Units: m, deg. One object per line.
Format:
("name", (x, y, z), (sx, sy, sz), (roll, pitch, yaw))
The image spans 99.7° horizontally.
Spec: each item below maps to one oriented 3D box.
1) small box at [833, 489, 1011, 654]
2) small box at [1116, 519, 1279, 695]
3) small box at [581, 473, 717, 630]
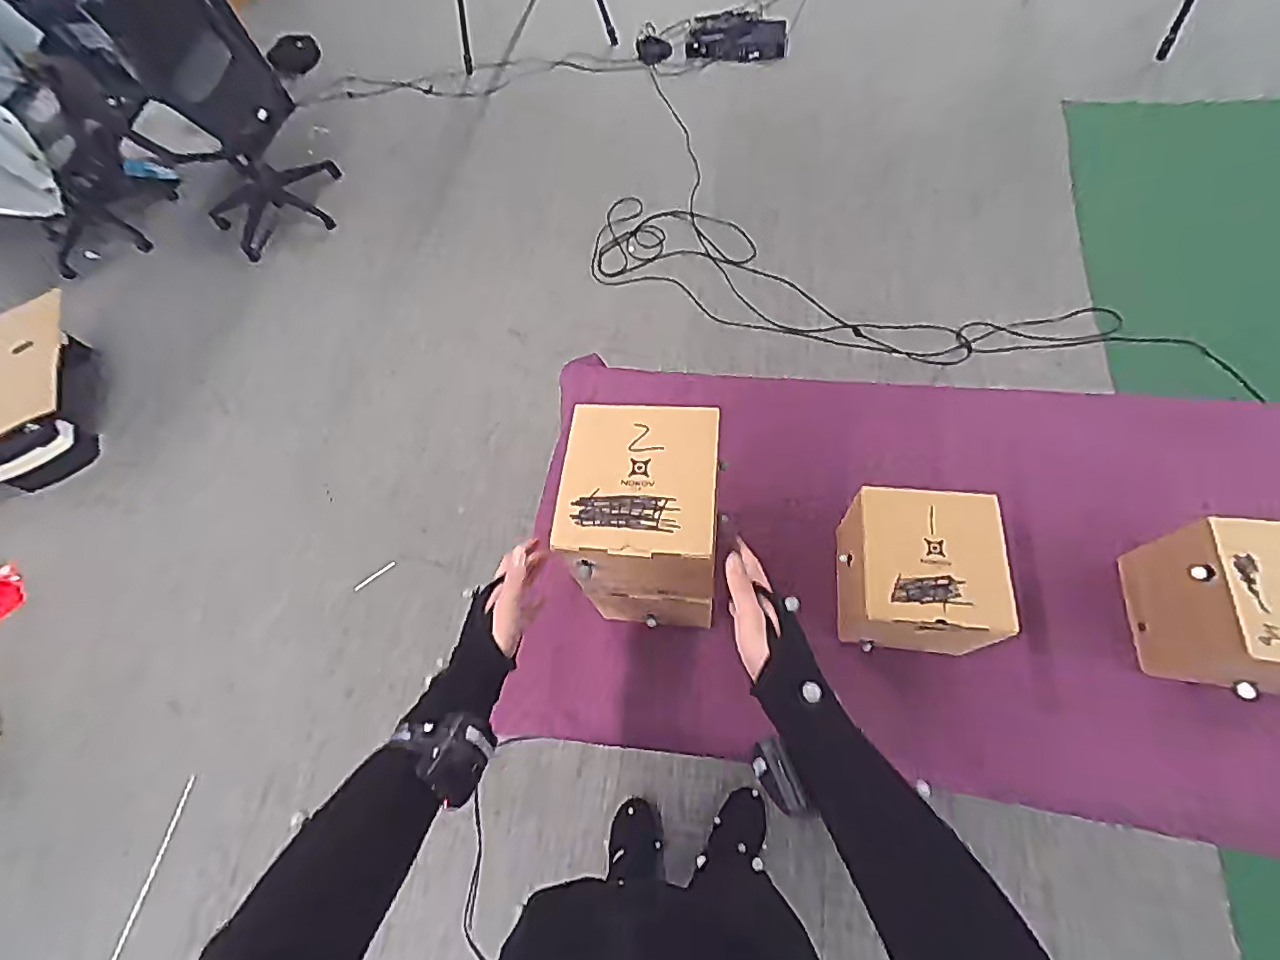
("small box", (0.364, 0.129, 0.732), (0.168, 0.176, 0.179), (4, 64, 9))
("small box", (0.747, 0.162, 0.662), (0.179, 0.176, 0.168), (5, 65, 10))
("small box", (0.023, 0.108, 0.788), (0.168, 0.176, 0.179), (3, 65, 9))
